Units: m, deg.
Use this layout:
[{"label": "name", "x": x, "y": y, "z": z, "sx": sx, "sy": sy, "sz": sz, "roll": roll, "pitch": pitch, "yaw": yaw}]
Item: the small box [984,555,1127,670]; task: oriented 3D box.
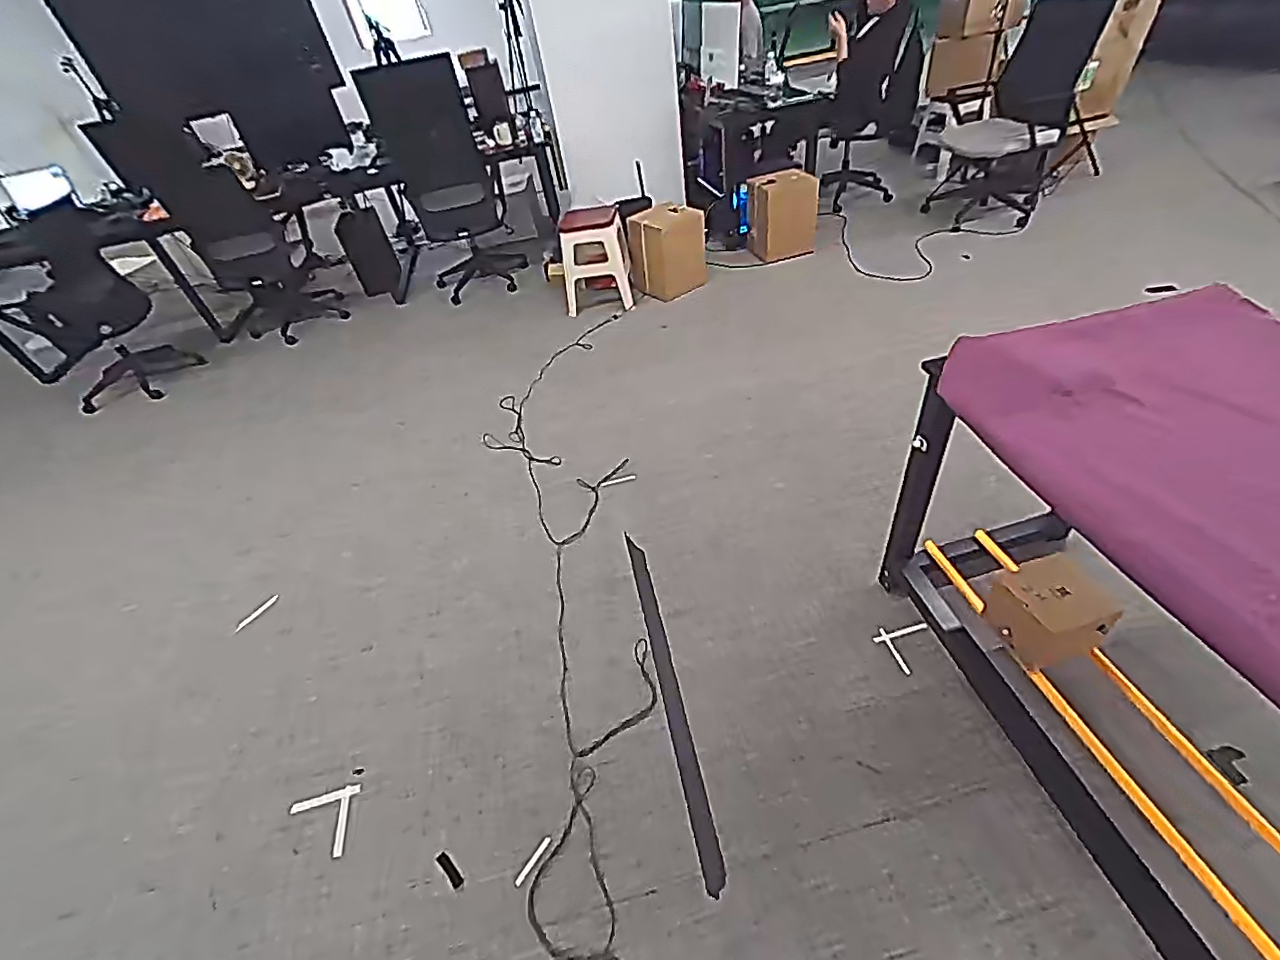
[{"label": "small box", "x": 0.939, "y": 0.307, "z": 1.244, "sx": 0.179, "sy": 0.176, "sz": 0.168, "roll": -18, "pitch": 43, "yaw": -4}]
